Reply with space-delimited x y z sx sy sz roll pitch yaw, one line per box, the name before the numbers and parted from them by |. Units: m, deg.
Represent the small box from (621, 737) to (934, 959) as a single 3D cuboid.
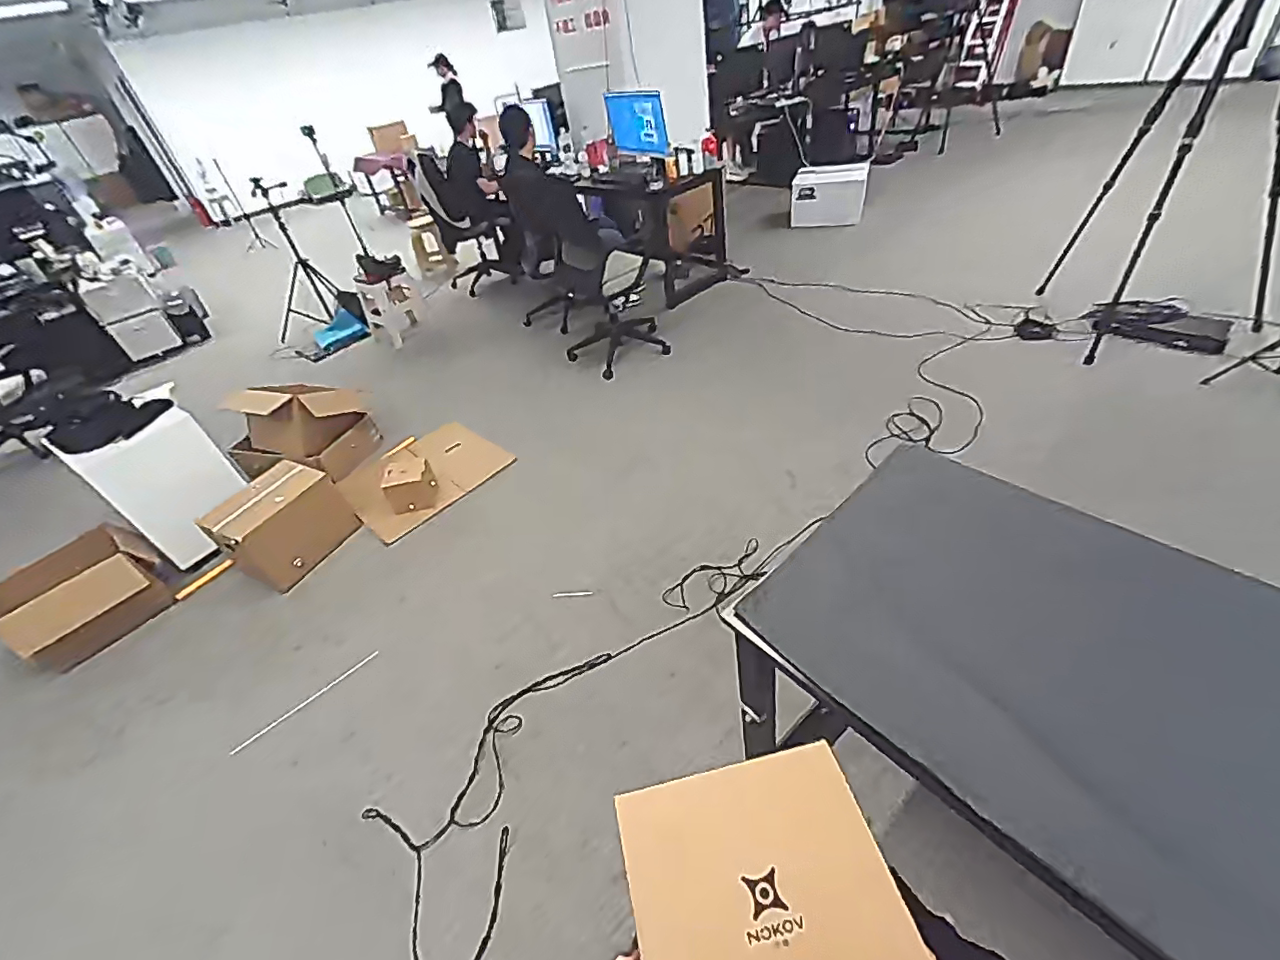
small box | 0.086 0.323 0.388 0.168 0.176 0.179 -12 42 -6
